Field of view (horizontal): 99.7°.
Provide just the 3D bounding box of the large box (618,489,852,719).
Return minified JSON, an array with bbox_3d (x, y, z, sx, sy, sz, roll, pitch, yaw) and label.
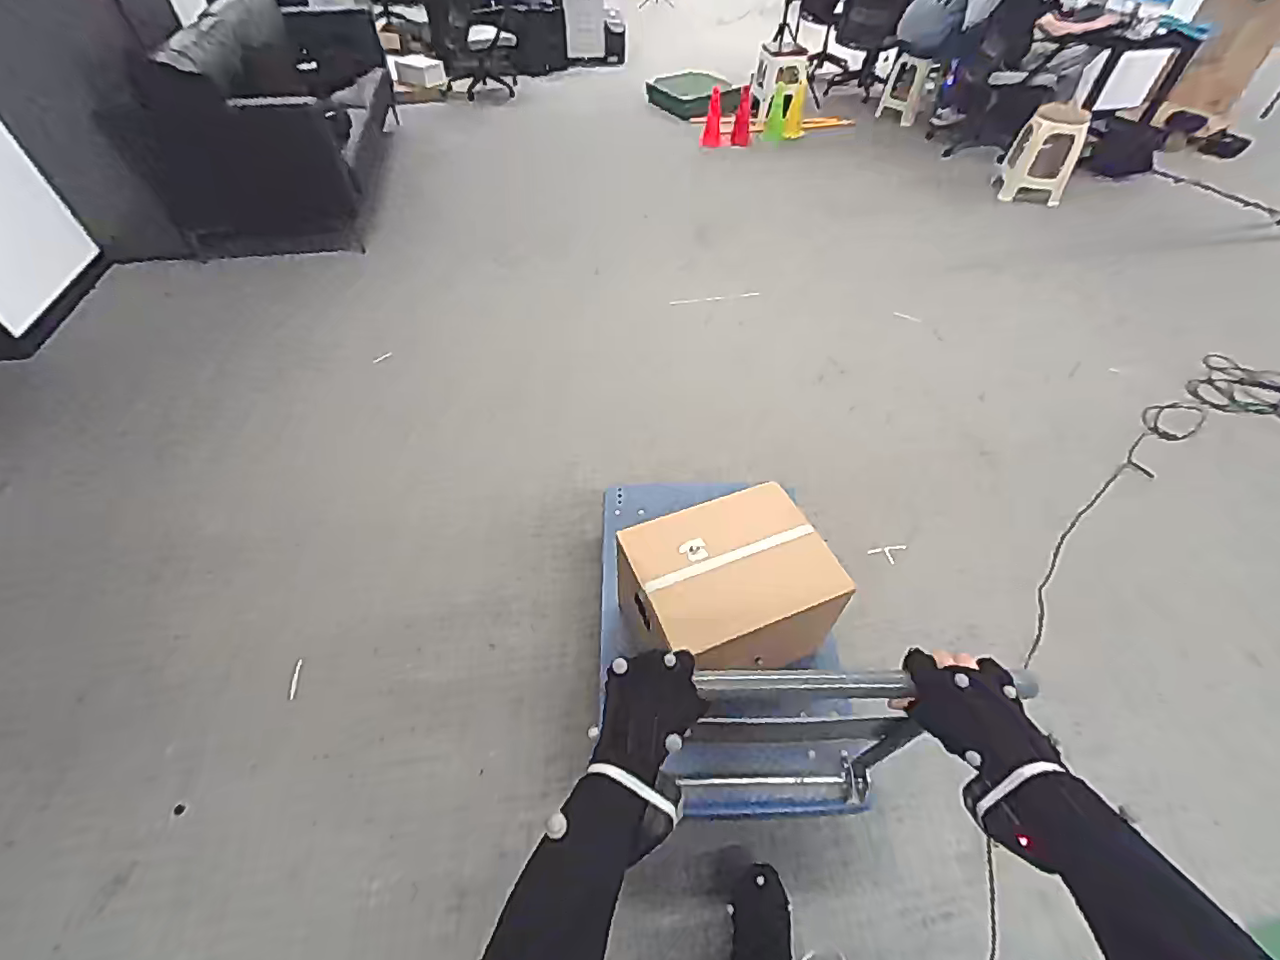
[{"bbox_3d":[0.194,0.282,1.243,0.408,0.320,0.320,-18,51,-15],"label":"large box"}]
